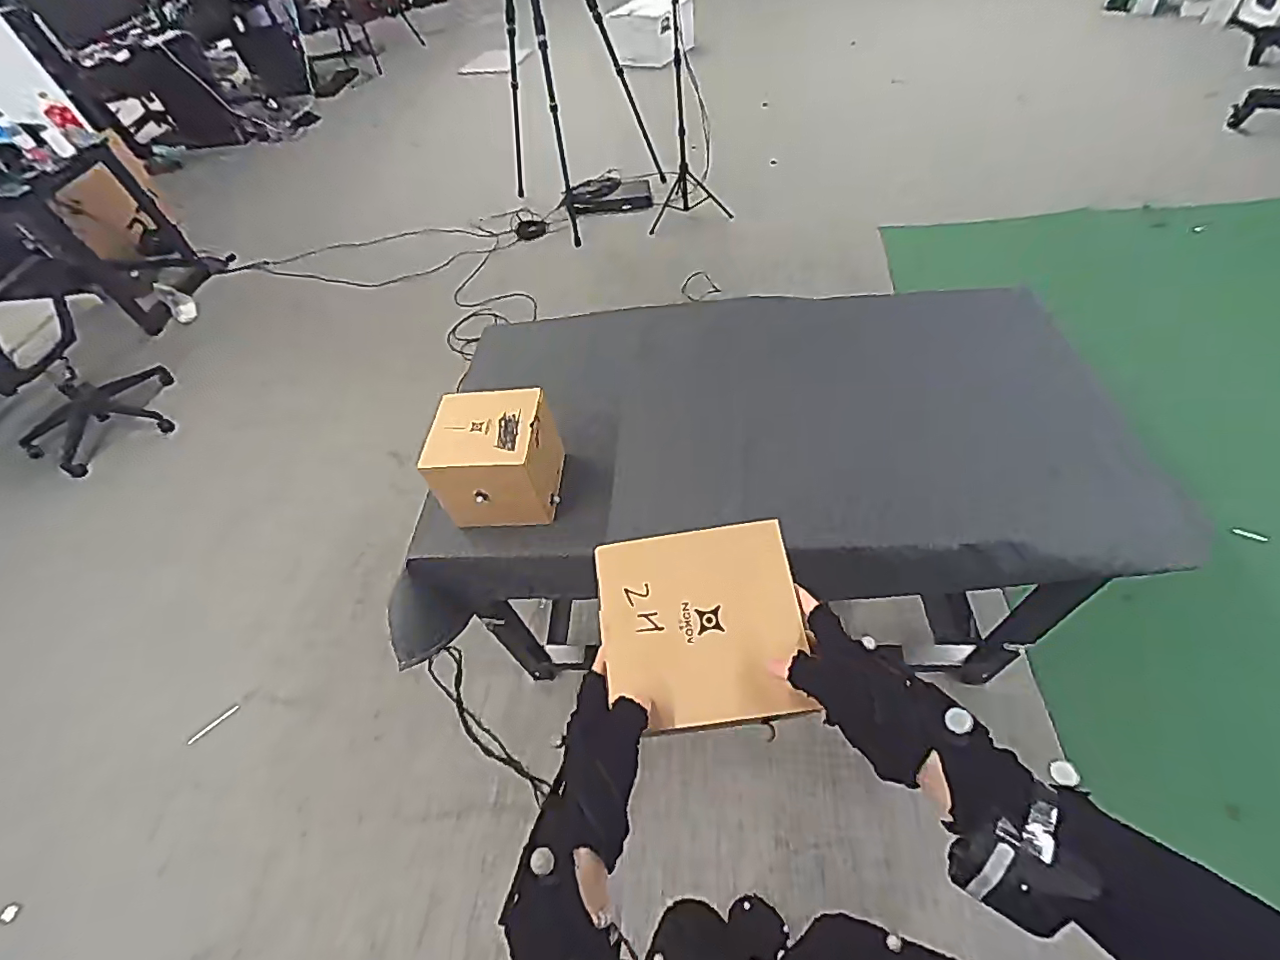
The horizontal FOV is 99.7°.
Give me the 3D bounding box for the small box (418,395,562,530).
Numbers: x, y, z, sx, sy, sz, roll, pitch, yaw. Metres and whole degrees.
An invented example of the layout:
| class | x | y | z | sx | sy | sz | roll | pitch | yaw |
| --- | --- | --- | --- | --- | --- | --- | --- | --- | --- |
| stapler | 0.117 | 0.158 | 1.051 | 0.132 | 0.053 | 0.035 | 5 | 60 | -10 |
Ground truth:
| class | x | y | z | sx | sy | sz | roll | pitch | yaw |
| --- | --- | --- | --- | --- | --- | --- | --- | --- | --- |
| small box | -0.240 | -0.025 | 0.922 | 0.179 | 0.176 | 0.168 | -2 | 51 | 7 |
